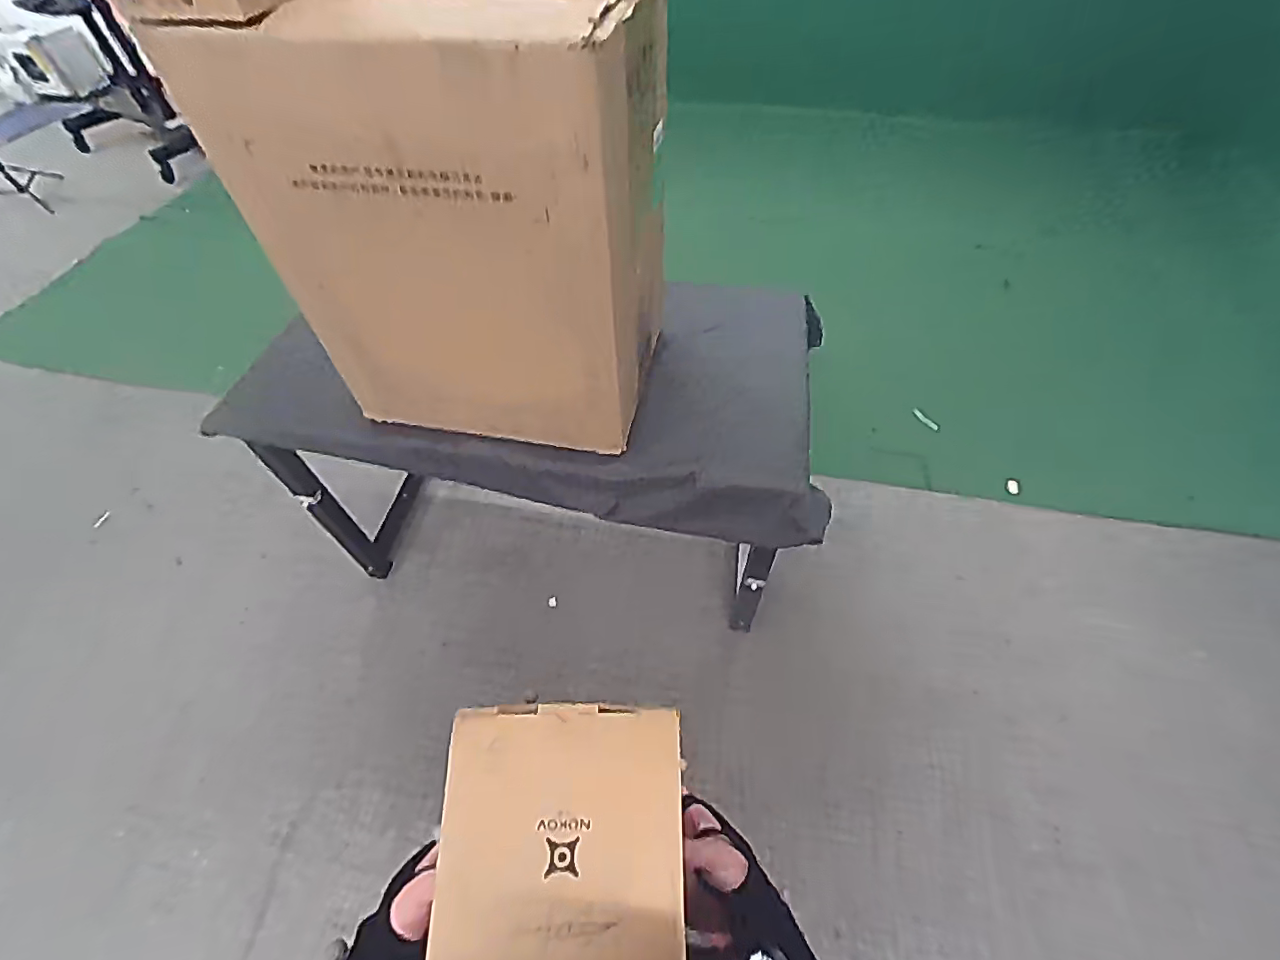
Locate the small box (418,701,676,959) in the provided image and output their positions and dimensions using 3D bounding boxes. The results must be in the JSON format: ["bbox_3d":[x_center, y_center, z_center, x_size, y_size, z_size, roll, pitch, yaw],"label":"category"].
[{"bbox_3d":[-0.063,0.276,0.440,0.168,0.176,0.179,2,69,-3],"label":"small box"}]

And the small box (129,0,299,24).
[{"bbox_3d":[-0.470,-0.606,0.567,0.168,0.176,0.179,9,54,10],"label":"small box"}]
